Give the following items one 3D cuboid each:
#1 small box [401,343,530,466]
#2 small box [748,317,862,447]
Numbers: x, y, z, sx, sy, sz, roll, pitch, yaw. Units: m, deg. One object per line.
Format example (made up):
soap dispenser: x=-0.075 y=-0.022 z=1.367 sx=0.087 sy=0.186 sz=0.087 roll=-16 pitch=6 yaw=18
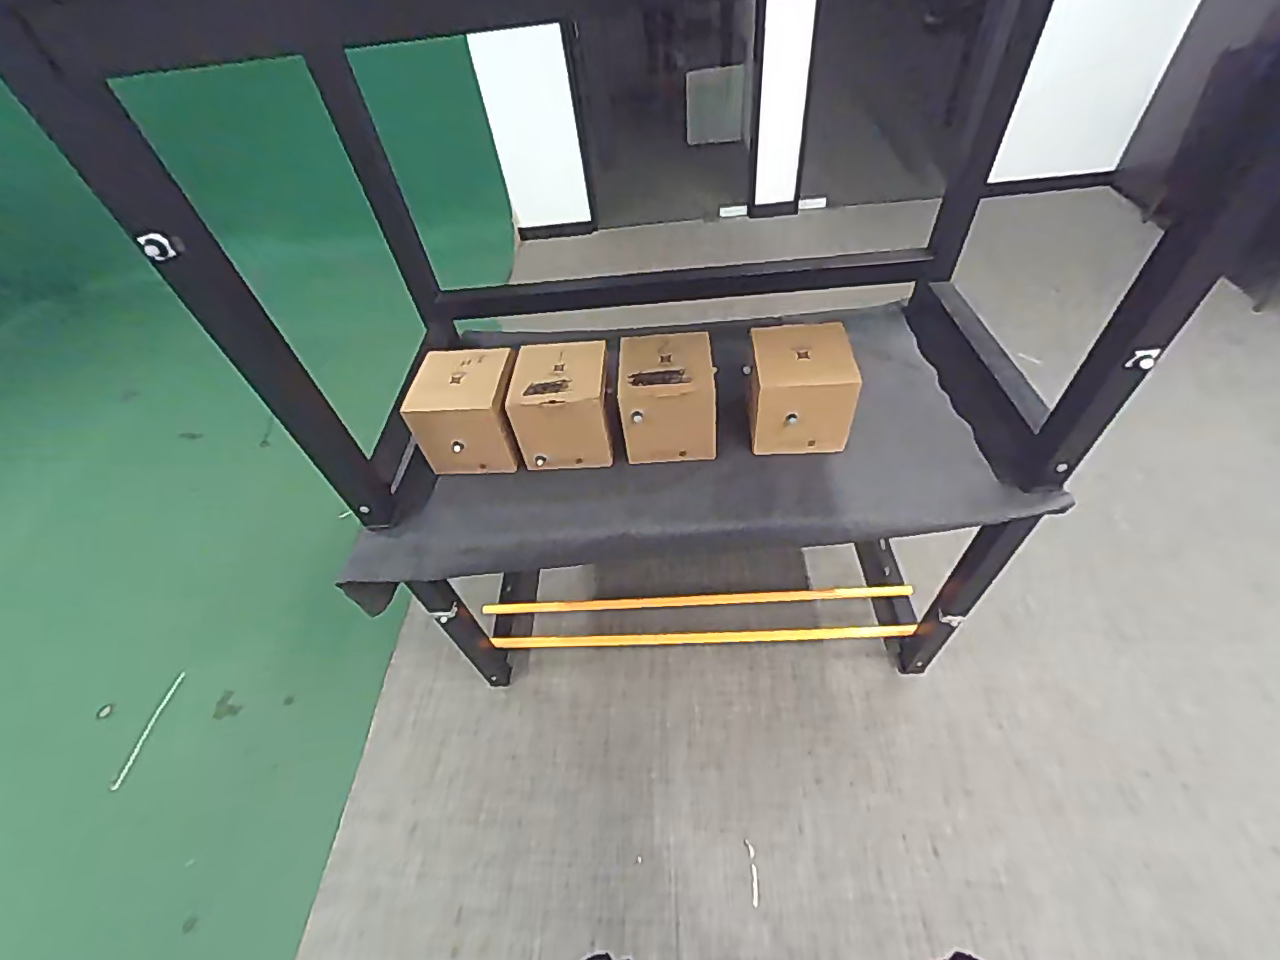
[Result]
small box: x=-0.319 y=-0.140 z=1.032 sx=0.168 sy=0.176 sz=0.179 roll=0 pitch=49 yaw=5
small box: x=0.290 y=-0.172 z=0.986 sx=0.168 sy=0.176 sz=0.179 roll=-1 pitch=49 yaw=6
